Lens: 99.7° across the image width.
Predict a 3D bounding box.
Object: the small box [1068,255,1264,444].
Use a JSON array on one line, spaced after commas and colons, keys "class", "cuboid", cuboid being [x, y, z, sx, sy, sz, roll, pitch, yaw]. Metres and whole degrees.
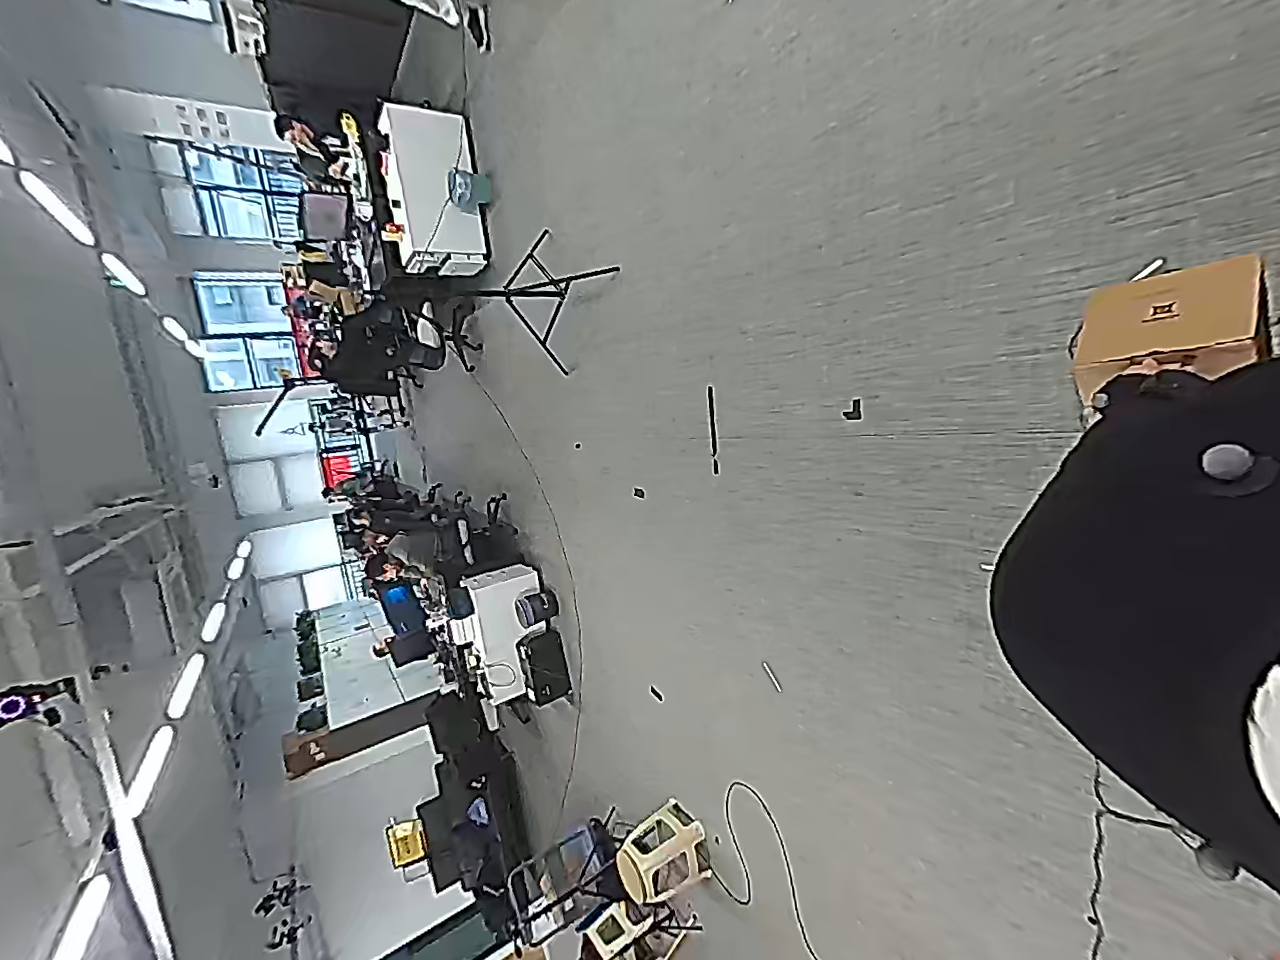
[{"class": "small box", "cuboid": [0.720, -0.162, 0.738, 0.168, 0.179, 0.176, -1, 137, 52]}]
